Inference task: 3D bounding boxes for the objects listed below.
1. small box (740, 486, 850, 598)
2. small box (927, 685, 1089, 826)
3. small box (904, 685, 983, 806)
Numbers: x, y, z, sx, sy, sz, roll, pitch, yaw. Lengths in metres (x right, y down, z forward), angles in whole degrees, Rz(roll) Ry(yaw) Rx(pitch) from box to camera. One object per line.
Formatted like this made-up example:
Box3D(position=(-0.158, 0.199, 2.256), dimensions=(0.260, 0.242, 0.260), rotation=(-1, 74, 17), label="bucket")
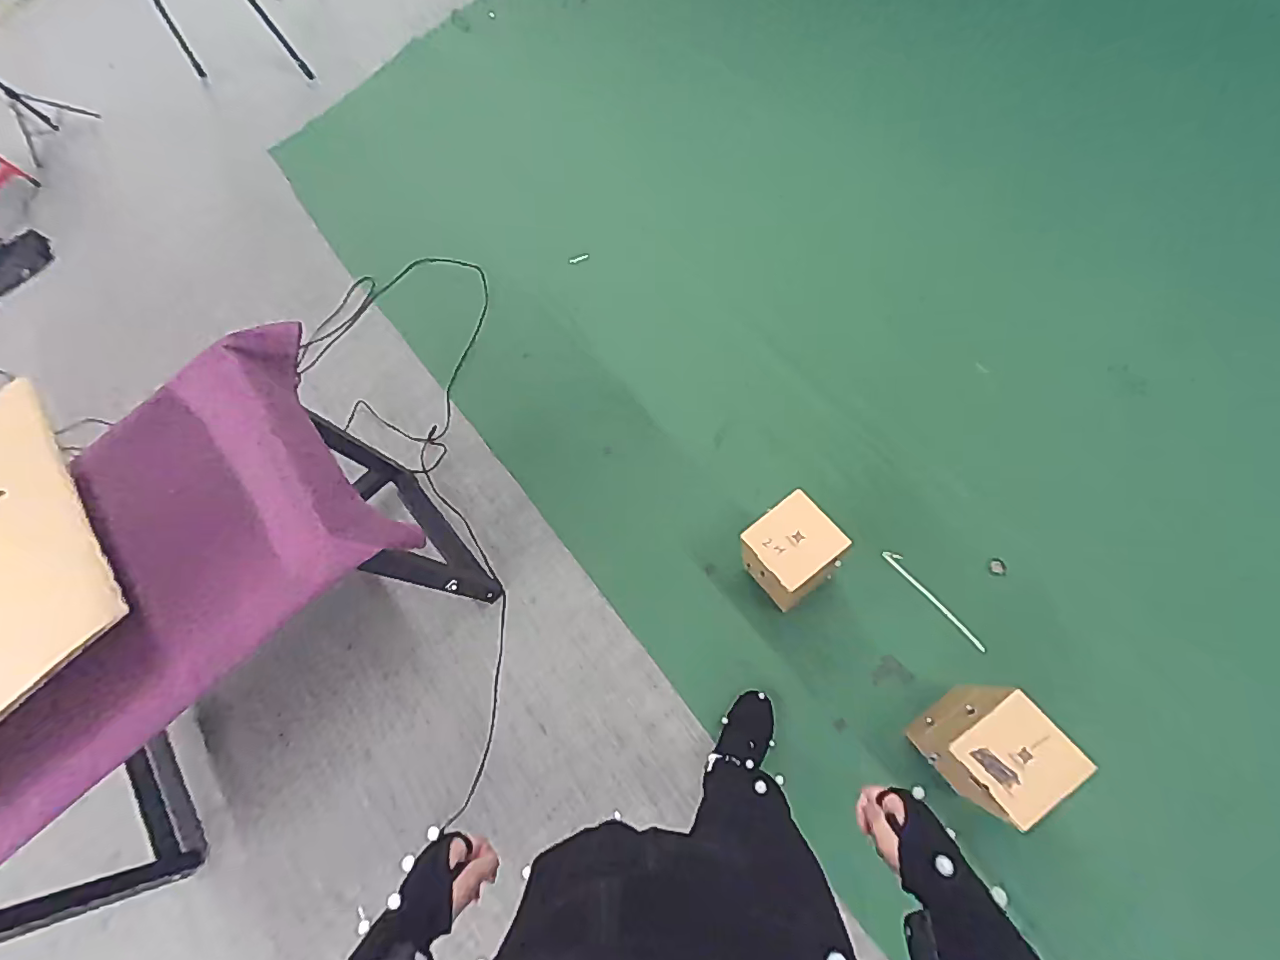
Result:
Box3D(position=(0.348, 0.148, 1.245), dimensions=(0.179, 0.176, 0.168), rotation=(-37, 66, -3), label="small box")
Box3D(position=(0.687, 0.517, 1.040), dimensions=(0.179, 0.176, 0.168), rotation=(-37, 68, -3), label="small box")
Box3D(position=(0.720, 0.570, 1.192), dimensions=(0.179, 0.176, 0.168), rotation=(-39, 68, -3), label="small box")
